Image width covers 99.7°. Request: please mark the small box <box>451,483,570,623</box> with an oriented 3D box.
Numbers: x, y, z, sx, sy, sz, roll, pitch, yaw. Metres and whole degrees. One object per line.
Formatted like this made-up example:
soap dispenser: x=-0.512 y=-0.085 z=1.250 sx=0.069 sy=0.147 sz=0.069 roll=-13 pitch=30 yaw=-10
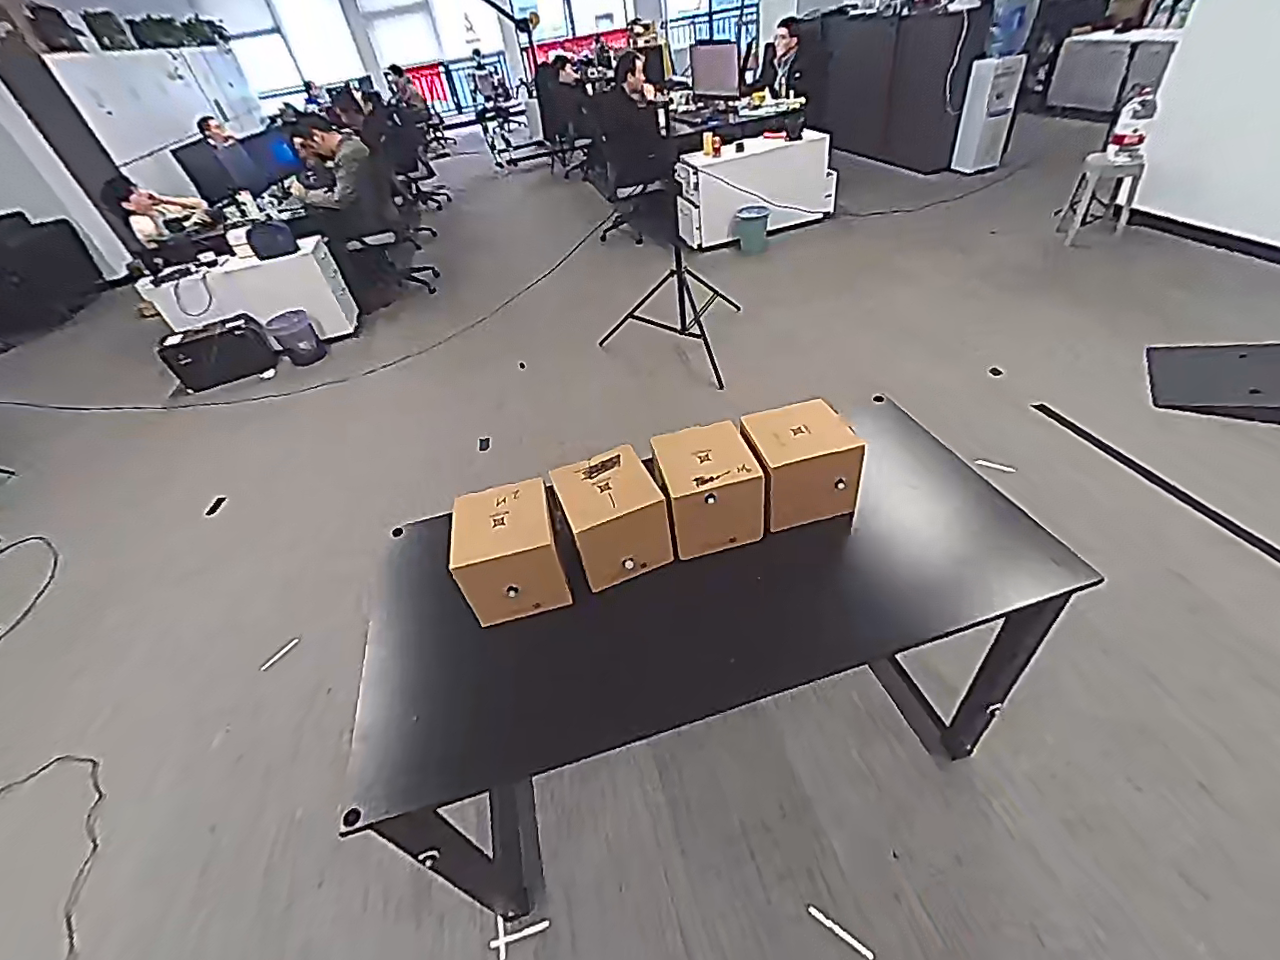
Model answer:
small box: x=-0.229 y=0.137 z=0.980 sx=0.168 sy=0.176 sz=0.179 roll=-14 pitch=40 yaw=-5
